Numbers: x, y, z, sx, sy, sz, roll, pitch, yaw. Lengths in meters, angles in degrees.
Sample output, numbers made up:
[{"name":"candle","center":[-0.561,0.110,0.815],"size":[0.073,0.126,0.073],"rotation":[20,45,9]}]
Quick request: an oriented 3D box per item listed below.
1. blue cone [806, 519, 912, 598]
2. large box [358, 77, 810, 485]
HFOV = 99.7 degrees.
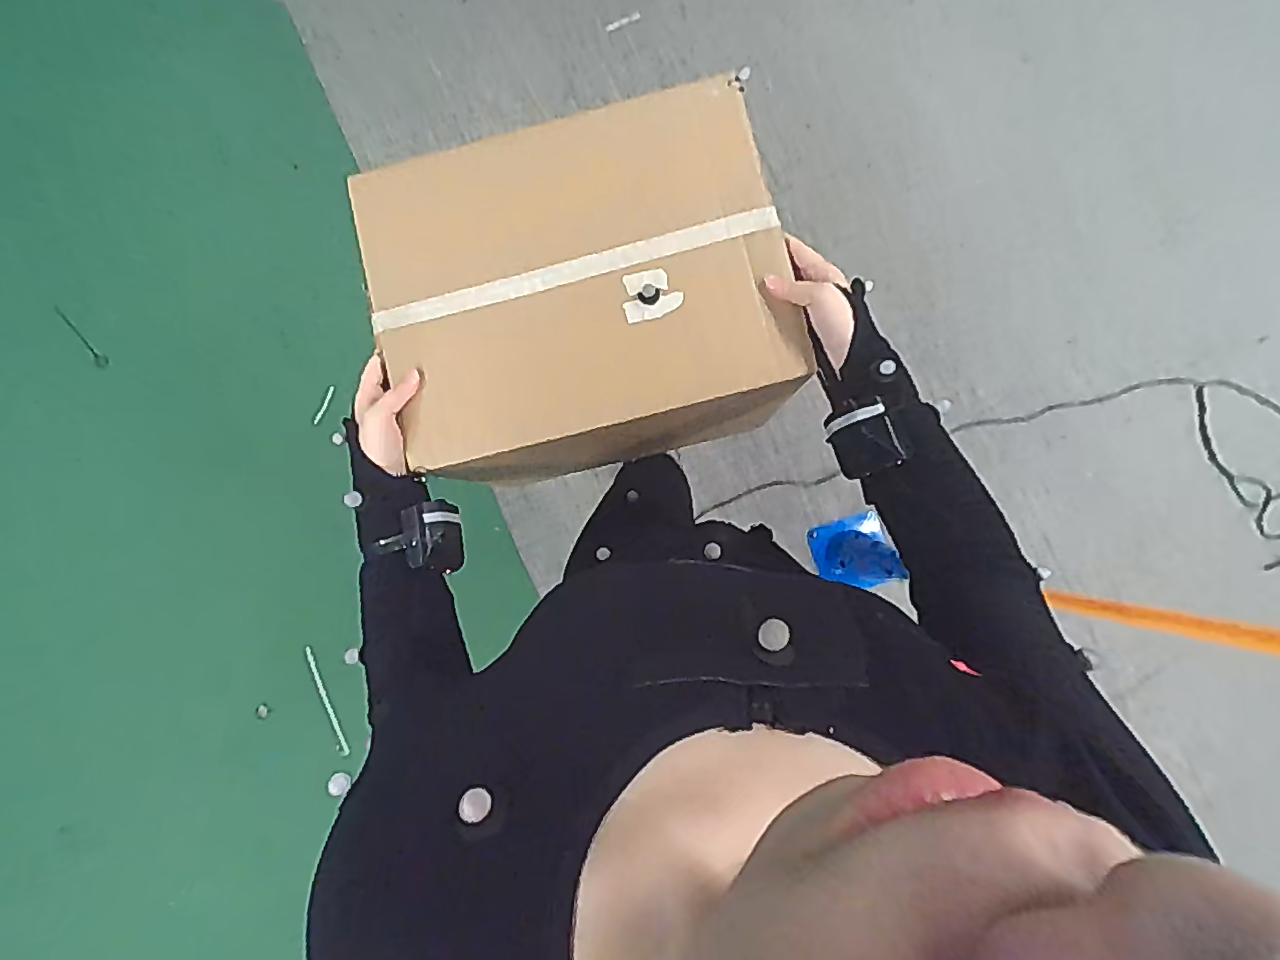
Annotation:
[{"name":"blue cone","center":[0.562,0.202,1.308],"size":[0.192,0.380,0.193],"rotation":[-16,86,1]},{"name":"large box","center":[-0.058,-0.200,0.685],"size":[0.408,0.320,0.320],"rotation":[-14,86,1]}]
